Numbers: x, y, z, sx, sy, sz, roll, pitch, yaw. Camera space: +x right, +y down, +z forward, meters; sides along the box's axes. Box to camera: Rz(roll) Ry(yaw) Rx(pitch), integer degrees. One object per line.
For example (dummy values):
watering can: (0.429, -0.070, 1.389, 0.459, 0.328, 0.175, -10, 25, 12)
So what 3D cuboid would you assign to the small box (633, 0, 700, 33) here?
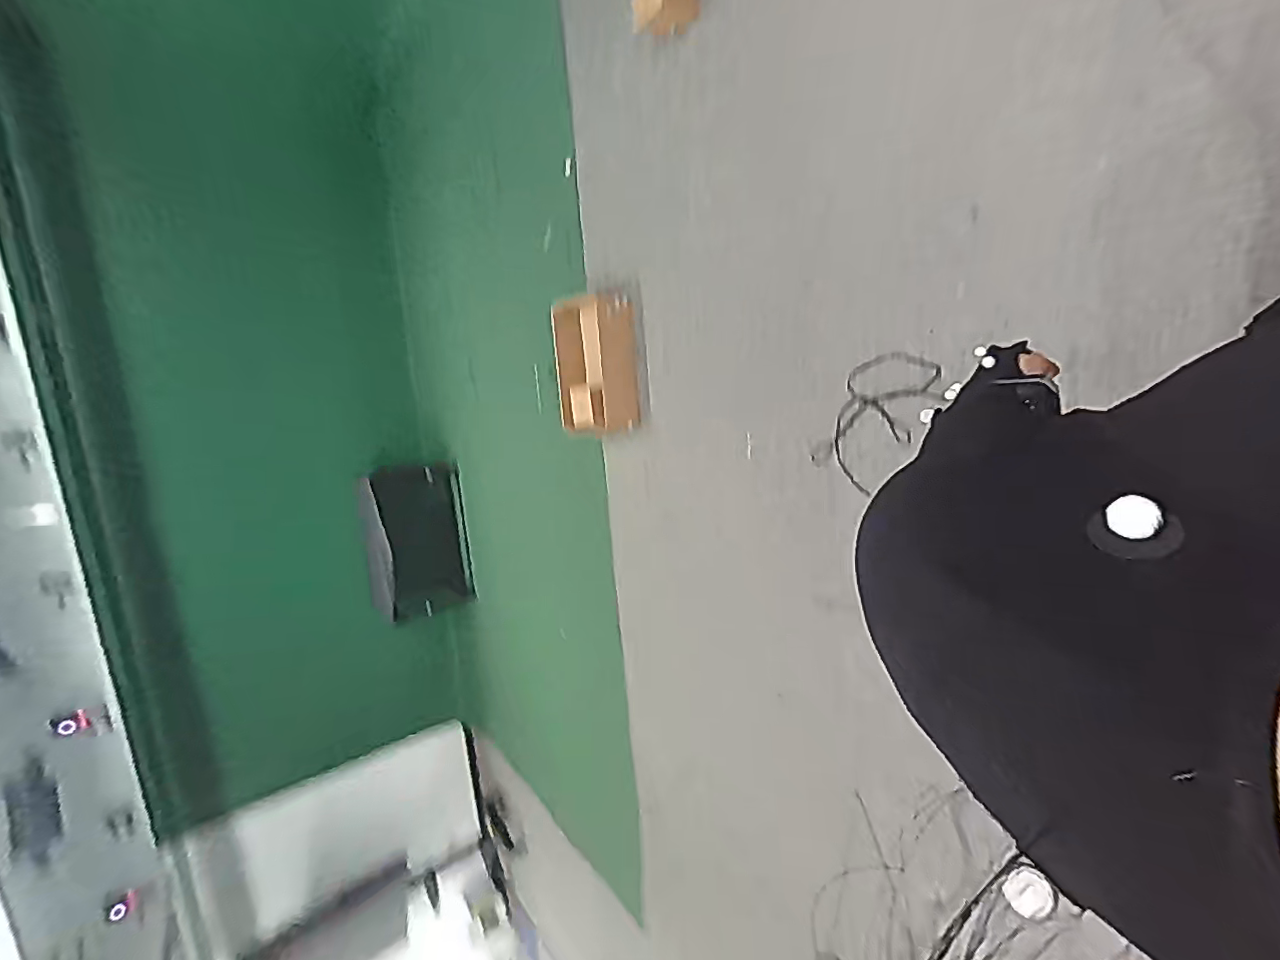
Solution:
small box: (0.093, -1.686, 1.845, 0.168, 0.176, 0.179, 17, 113, 51)

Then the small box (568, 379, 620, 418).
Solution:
small box: (-0.215, -0.381, 2.534, 0.179, 0.176, 0.168, 4, 103, 51)
